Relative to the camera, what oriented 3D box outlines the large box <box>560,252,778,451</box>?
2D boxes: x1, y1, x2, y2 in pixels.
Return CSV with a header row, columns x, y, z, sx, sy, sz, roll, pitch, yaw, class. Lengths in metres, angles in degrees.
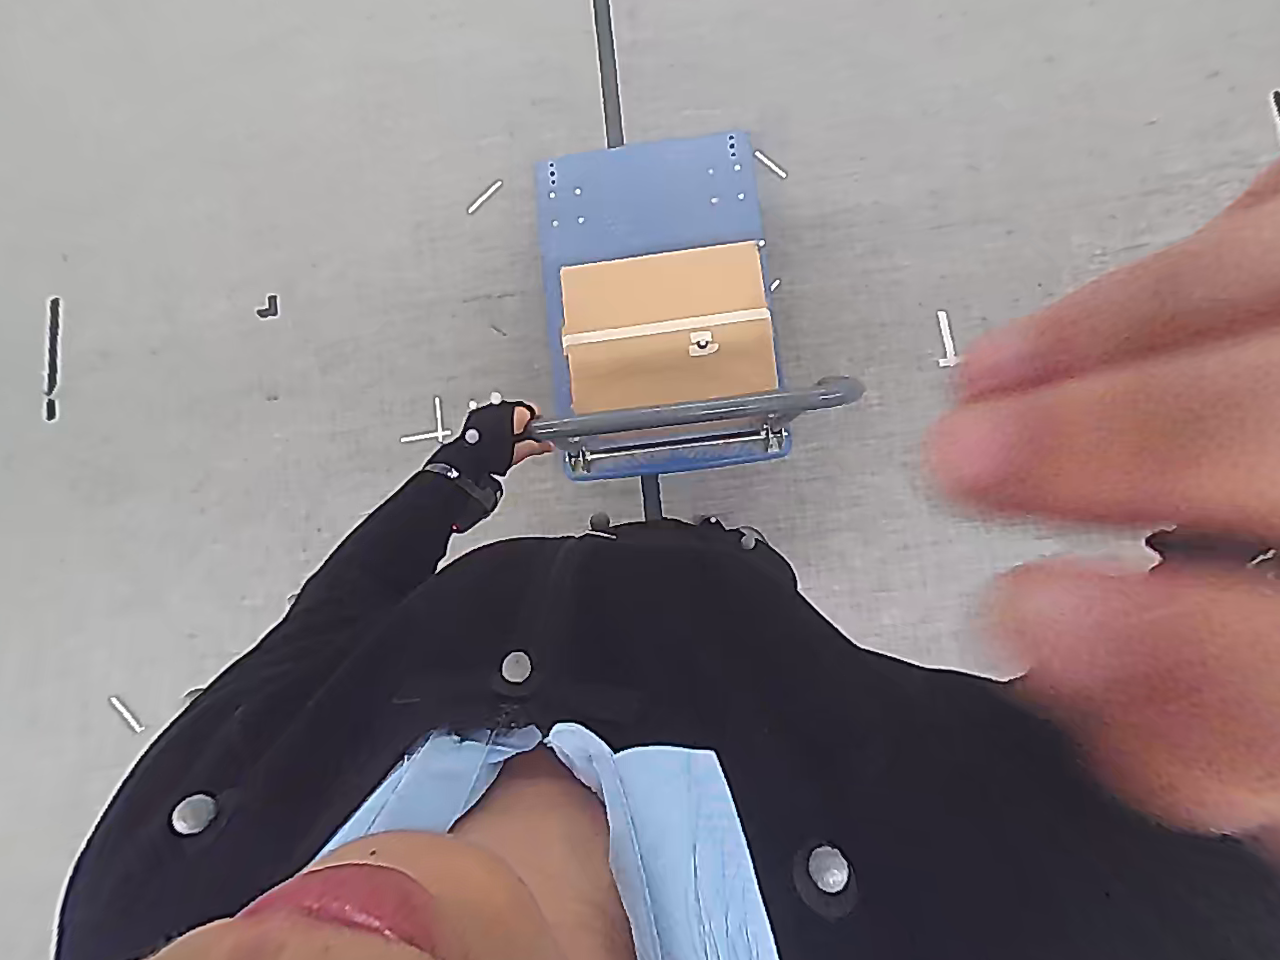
x,y,z,sx,sy,sz,roll,pitch,yaw,class
0.059,-0.262,1.211,0.408,0.320,0.320,-7,84,3,large box
